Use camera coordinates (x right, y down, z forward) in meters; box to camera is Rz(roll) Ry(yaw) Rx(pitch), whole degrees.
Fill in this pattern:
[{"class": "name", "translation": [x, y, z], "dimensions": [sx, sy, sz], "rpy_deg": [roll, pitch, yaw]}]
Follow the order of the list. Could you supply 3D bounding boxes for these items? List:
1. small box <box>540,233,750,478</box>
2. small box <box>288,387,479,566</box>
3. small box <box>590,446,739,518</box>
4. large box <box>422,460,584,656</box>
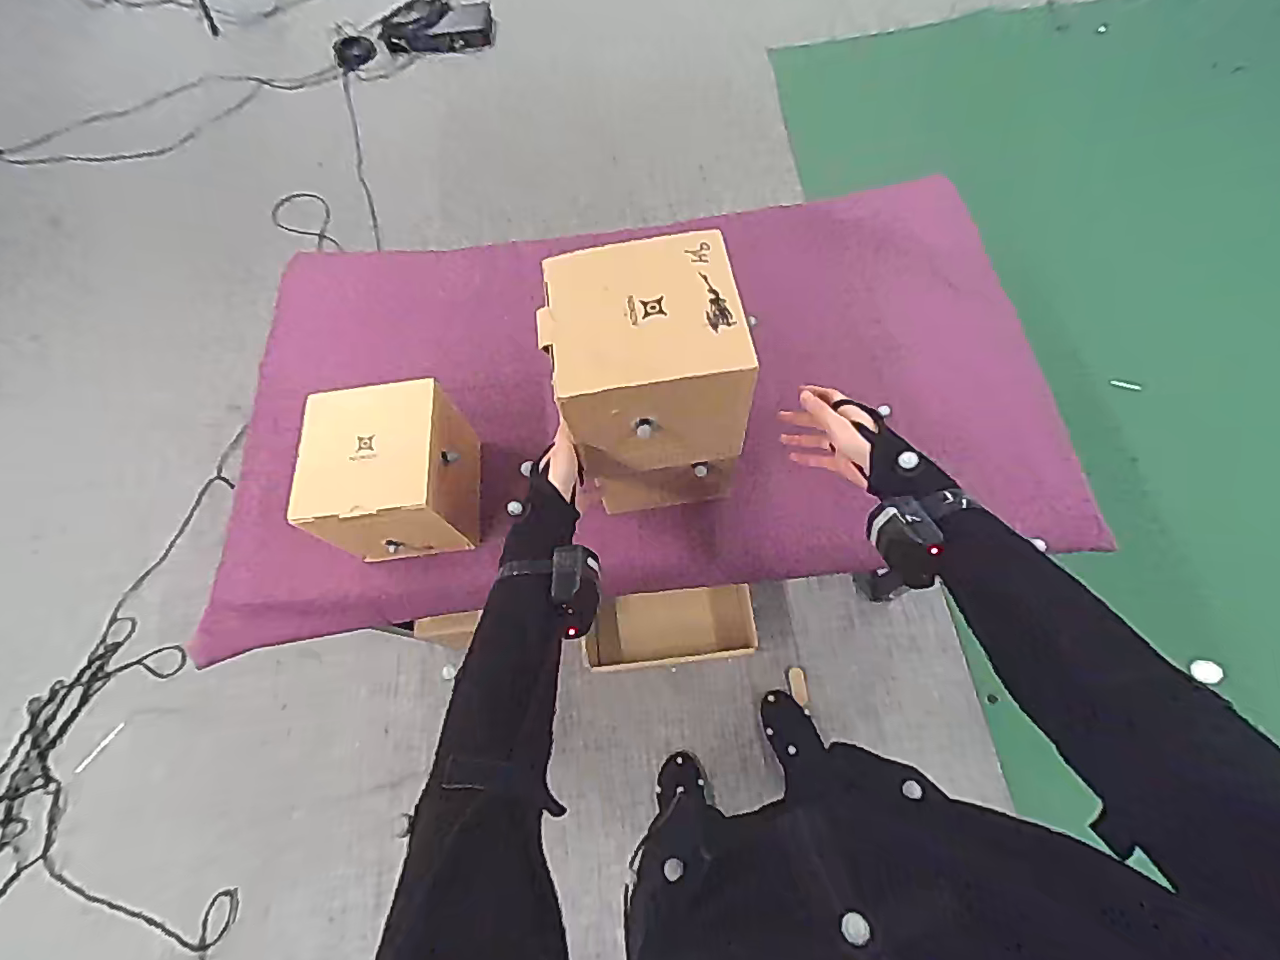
[{"class": "small box", "translation": [0.007, -0.115, 0.555], "dimensions": [0.179, 0.176, 0.168], "rpy_deg": [-9, 65, 2]}, {"class": "small box", "translation": [-0.323, 0.002, 0.721], "dimensions": [0.168, 0.176, 0.179], "rpy_deg": [-7, 66, 2]}, {"class": "small box", "translation": [0.023, -0.063, 0.711], "dimensions": [0.179, 0.176, 0.168], "rpy_deg": [-9, 65, 2]}, {"class": "large box", "translation": [-0.329, 0.207, 1.357], "dimensions": [0.320, 0.320, 0.408], "rpy_deg": [-8, 67, 2]}]
